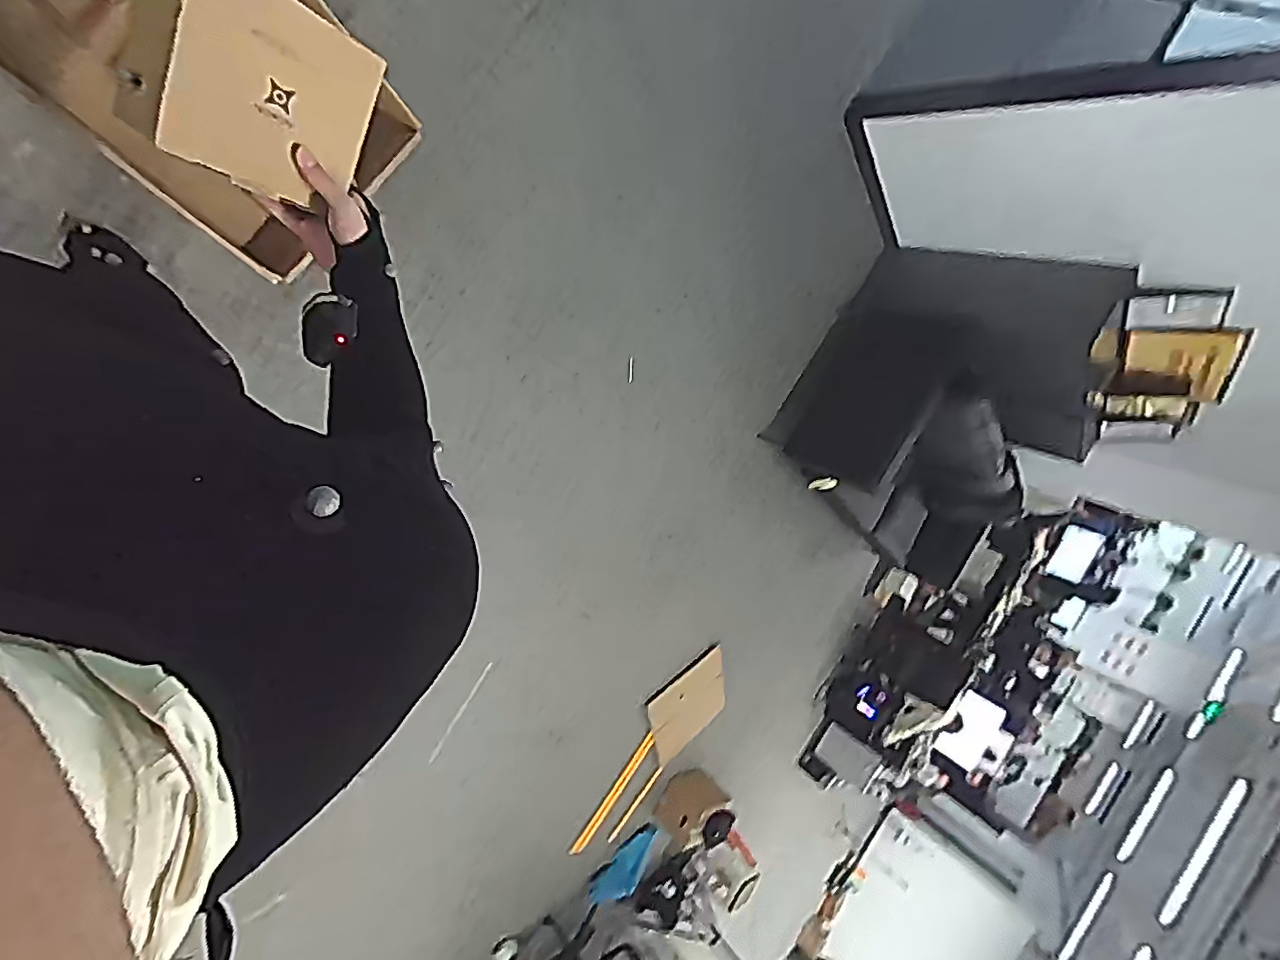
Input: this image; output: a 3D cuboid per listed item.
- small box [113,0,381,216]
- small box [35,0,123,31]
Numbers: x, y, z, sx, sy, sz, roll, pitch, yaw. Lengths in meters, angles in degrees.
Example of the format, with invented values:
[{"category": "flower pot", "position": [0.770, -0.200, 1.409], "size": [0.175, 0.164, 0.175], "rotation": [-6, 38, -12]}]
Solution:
[{"category": "small box", "position": [-0.406, -0.413, 0.556], "size": [0.168, 0.176, 0.179], "rotation": [3, 119, -56]}, {"category": "small box", "position": [-0.756, -0.719, 0.678], "size": [0.168, 0.176, 0.179], "rotation": [-51, 136, -10]}]
